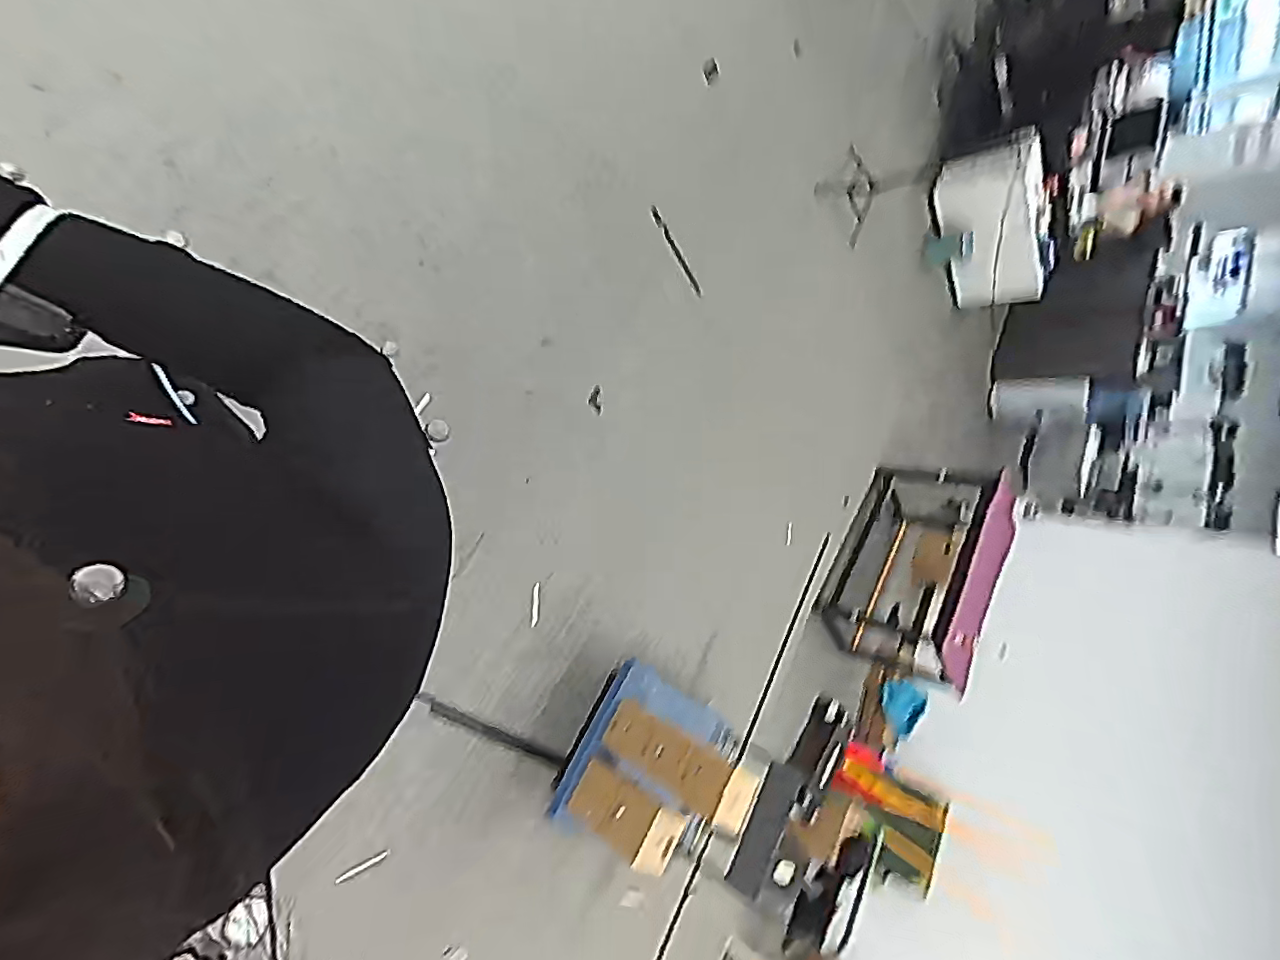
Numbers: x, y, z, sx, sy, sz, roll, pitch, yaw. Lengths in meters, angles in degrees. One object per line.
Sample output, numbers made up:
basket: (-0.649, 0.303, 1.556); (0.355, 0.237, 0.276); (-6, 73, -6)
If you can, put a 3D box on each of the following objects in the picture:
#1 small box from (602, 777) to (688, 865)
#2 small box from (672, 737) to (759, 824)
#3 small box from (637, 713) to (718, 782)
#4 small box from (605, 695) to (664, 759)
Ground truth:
small box: (0.014, 1.074, 1.712); (0.179, 0.176, 0.168); (48, 63, -37)
small box: (0.233, 0.925, 1.675); (0.179, 0.176, 0.168); (45, 65, -38)
small box: (0.121, 0.898, 1.791); (0.179, 0.176, 0.168); (43, 67, -39)
small box: (0.006, 0.882, 1.908); (0.179, 0.176, 0.168); (45, 66, -39)
